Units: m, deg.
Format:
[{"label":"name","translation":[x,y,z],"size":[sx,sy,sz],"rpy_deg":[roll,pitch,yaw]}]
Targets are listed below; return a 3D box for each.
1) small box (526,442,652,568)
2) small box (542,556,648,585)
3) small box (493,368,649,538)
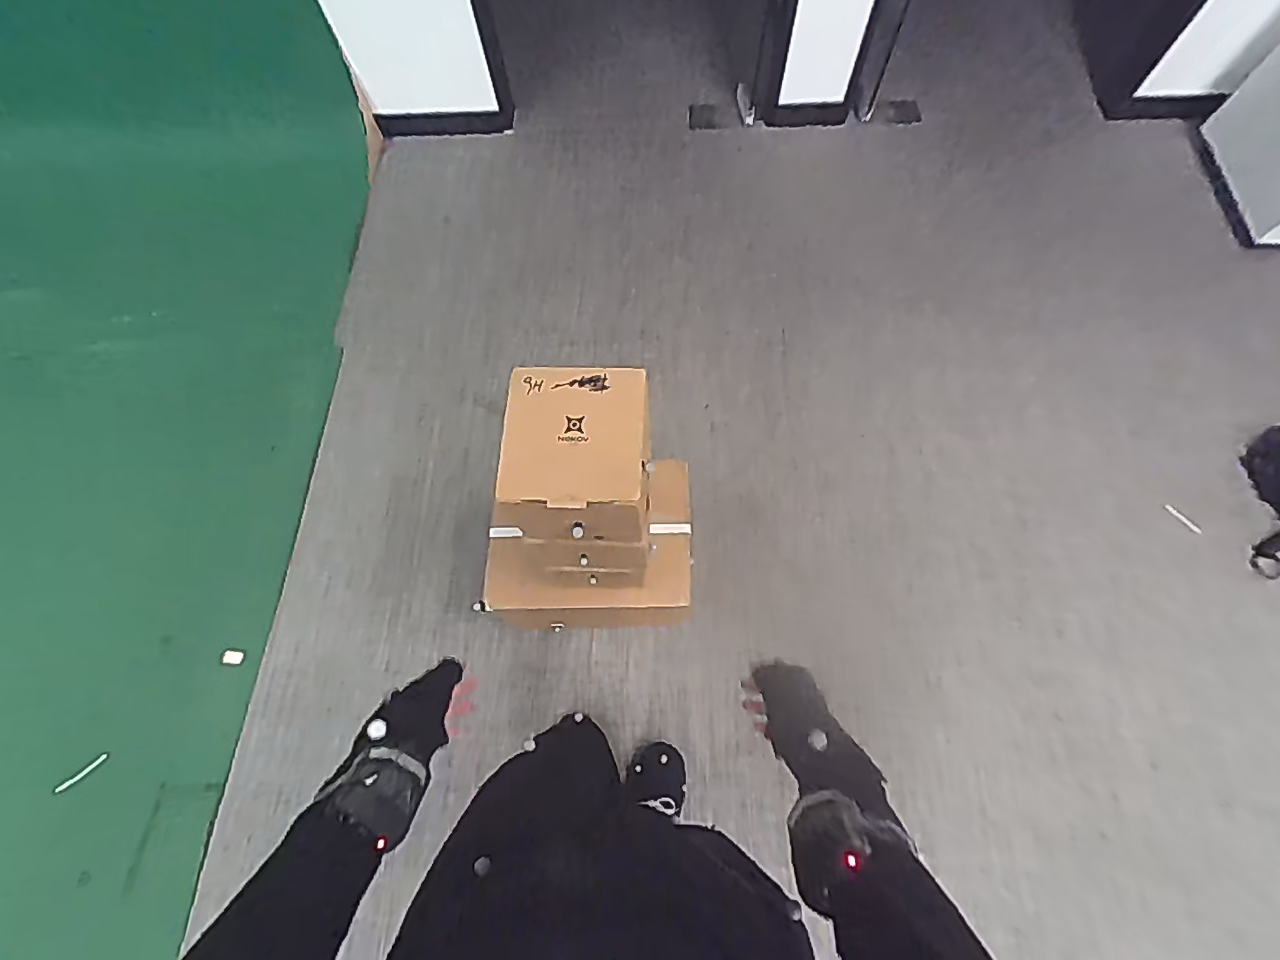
[{"label":"small box","translation":[-0.071,0.042,0.854],"size":[0.179,0.176,0.168],"rpy_deg":[-1,70,1]},{"label":"small box","translation":[-0.073,0.101,1.006],"size":[0.179,0.176,0.168],"rpy_deg":[1,70,1]},{"label":"small box","translation":[-0.076,-0.026,0.704],"size":[0.168,0.176,0.179],"rpy_deg":[2,70,4]}]
